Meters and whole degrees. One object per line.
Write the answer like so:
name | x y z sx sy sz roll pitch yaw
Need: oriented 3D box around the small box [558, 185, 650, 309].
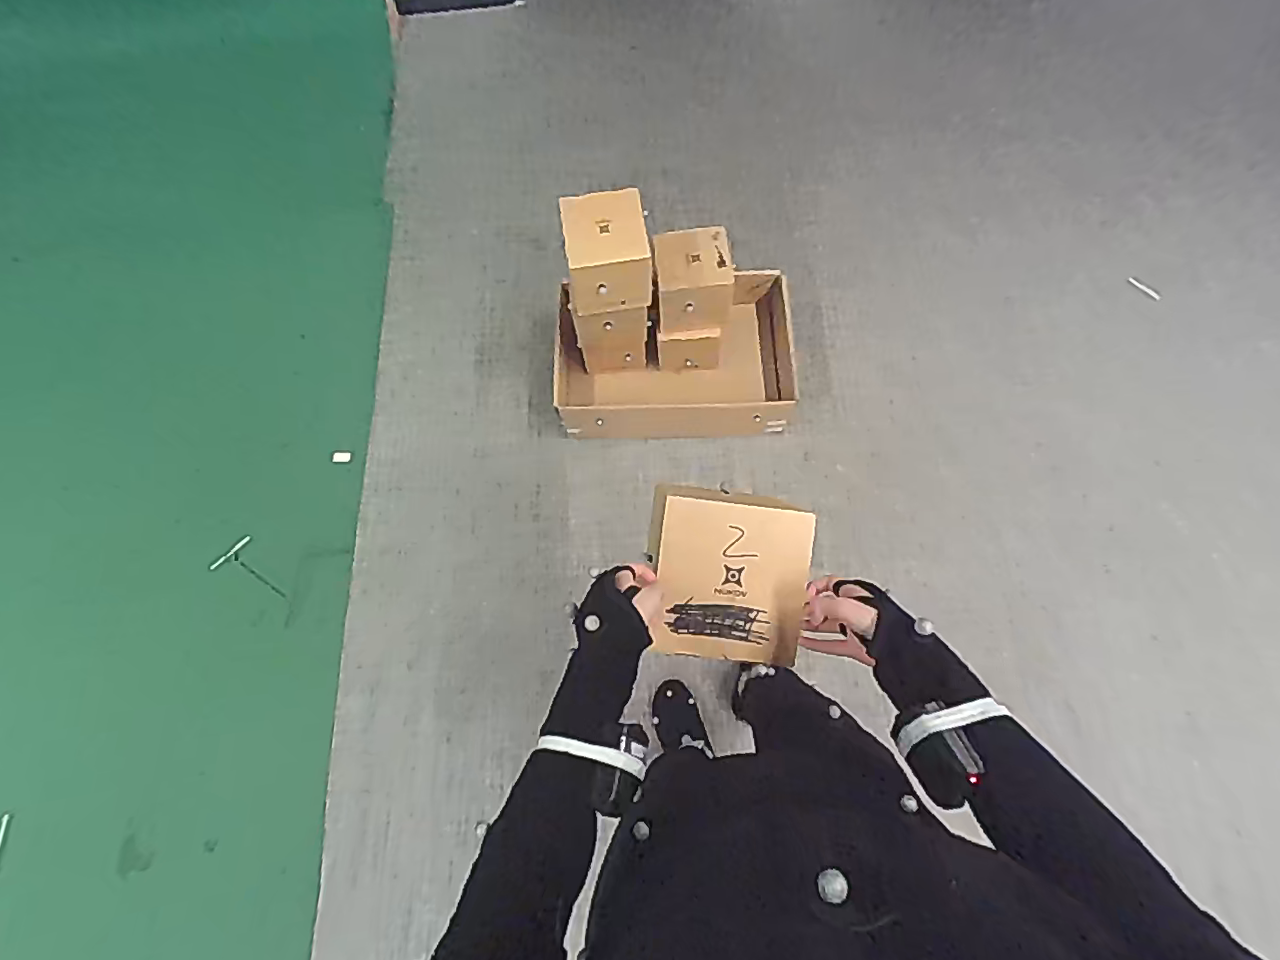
small box | -0.072 -0.485 1.156 0.168 0.176 0.179 -9 73 0

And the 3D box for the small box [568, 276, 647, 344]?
small box | -0.075 -0.451 1.315 0.179 0.176 0.168 -6 74 1

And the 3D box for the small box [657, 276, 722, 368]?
small box | 0.131 -0.424 1.467 0.168 0.176 0.179 -3 74 5
